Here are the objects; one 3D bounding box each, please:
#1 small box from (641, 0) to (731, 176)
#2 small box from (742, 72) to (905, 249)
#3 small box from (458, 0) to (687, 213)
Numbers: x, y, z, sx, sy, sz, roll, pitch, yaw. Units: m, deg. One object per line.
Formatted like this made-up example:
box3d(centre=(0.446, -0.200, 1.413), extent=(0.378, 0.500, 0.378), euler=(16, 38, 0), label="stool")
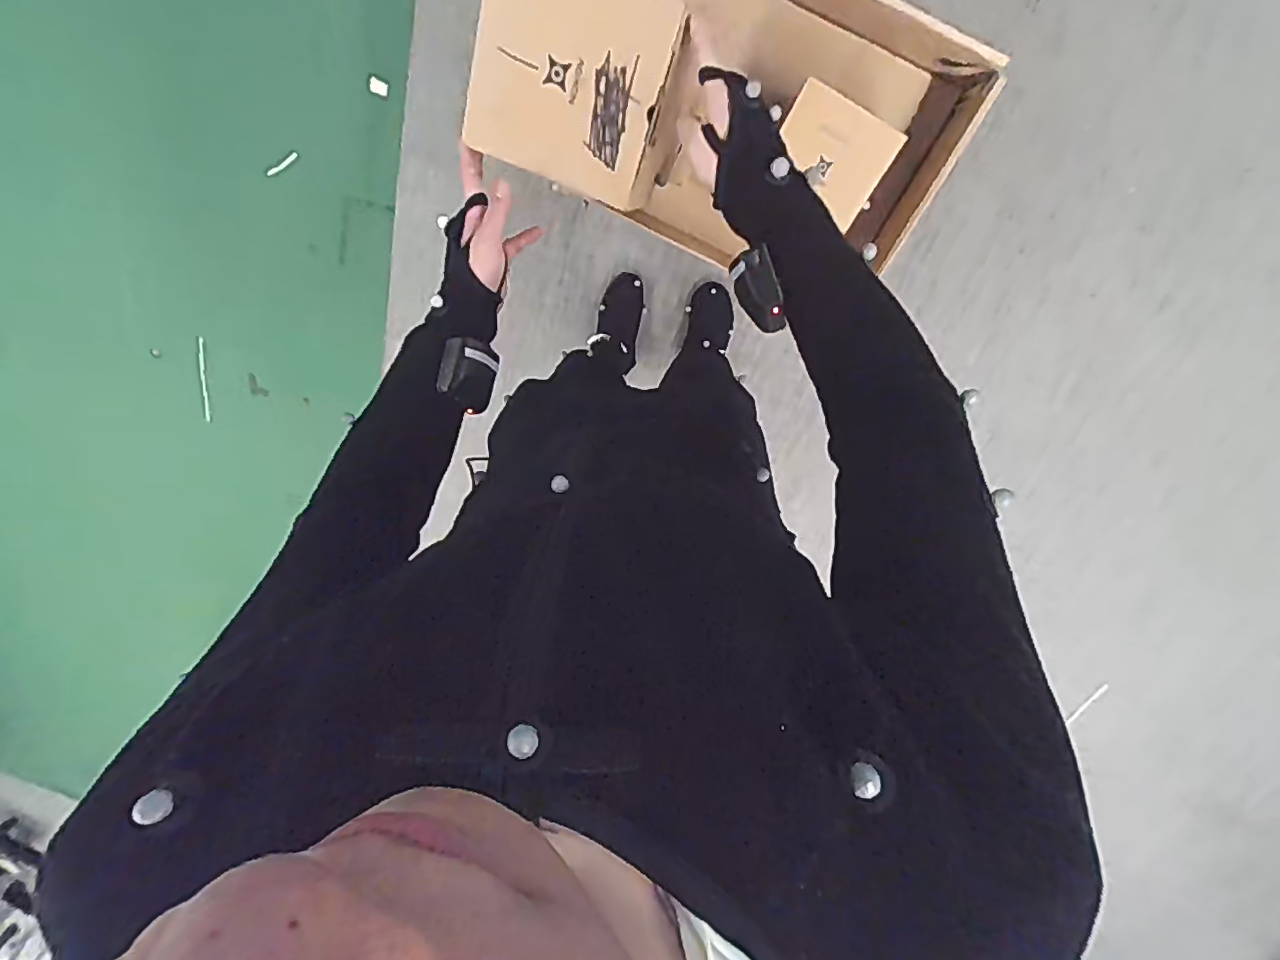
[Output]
box3d(centre=(0.007, -0.530, 0.728), extent=(0.179, 0.176, 0.168), euler=(27, 119, -2), label="small box")
box3d(centre=(0.283, -0.498, 0.864), extent=(0.168, 0.176, 0.179), euler=(30, 119, -4), label="small box")
box3d(centre=(-0.061, -0.402, 0.566), extent=(0.179, 0.176, 0.168), euler=(22, 121, -1), label="small box")
